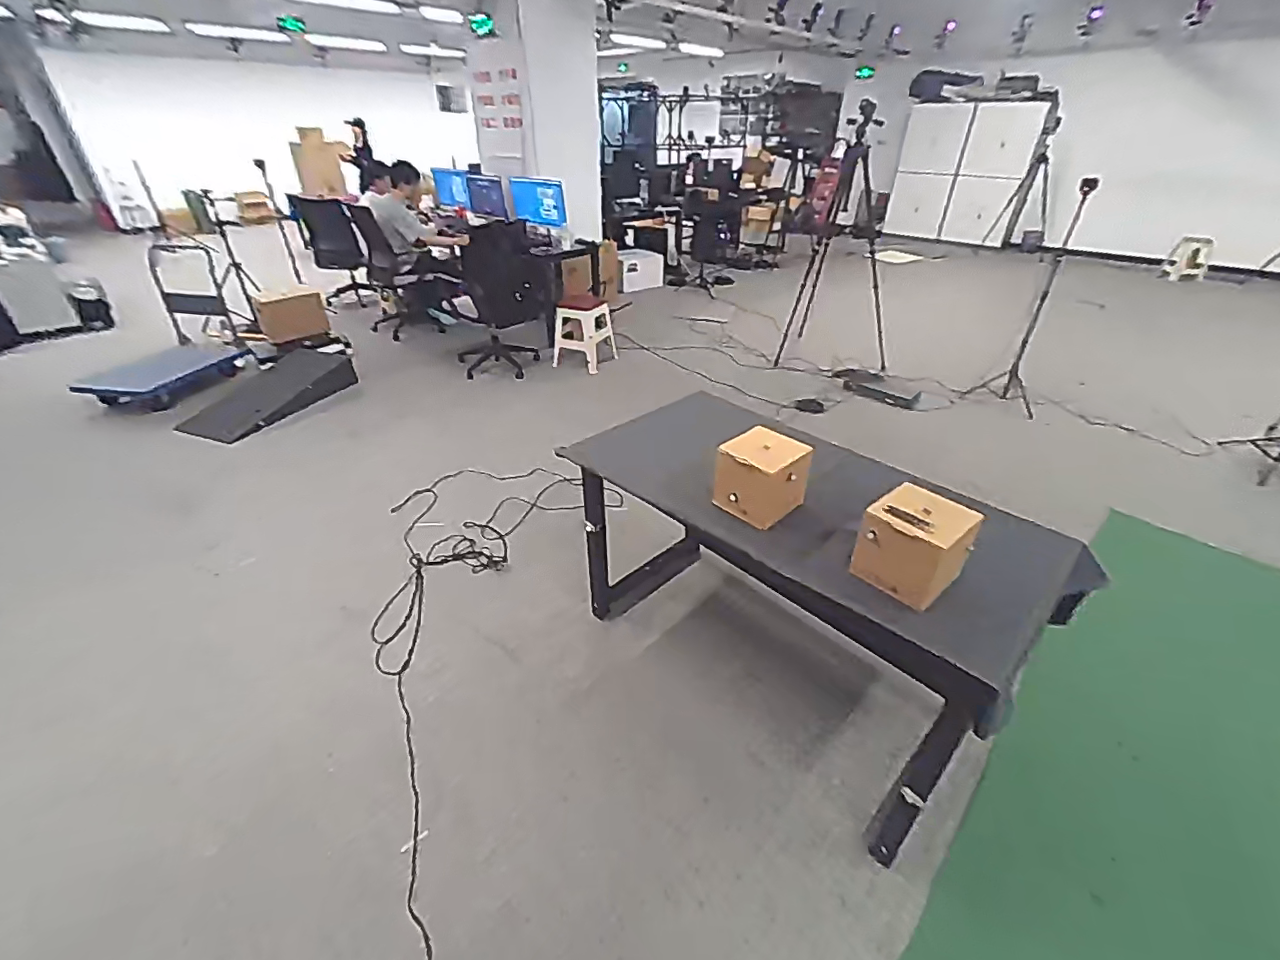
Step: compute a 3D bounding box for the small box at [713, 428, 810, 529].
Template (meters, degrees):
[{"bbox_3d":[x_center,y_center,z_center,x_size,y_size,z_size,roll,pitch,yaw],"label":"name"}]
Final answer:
[{"bbox_3d":[0.300,-0.005,1.368,0.179,0.176,0.168,-27,43,-36],"label":"small box"}]
